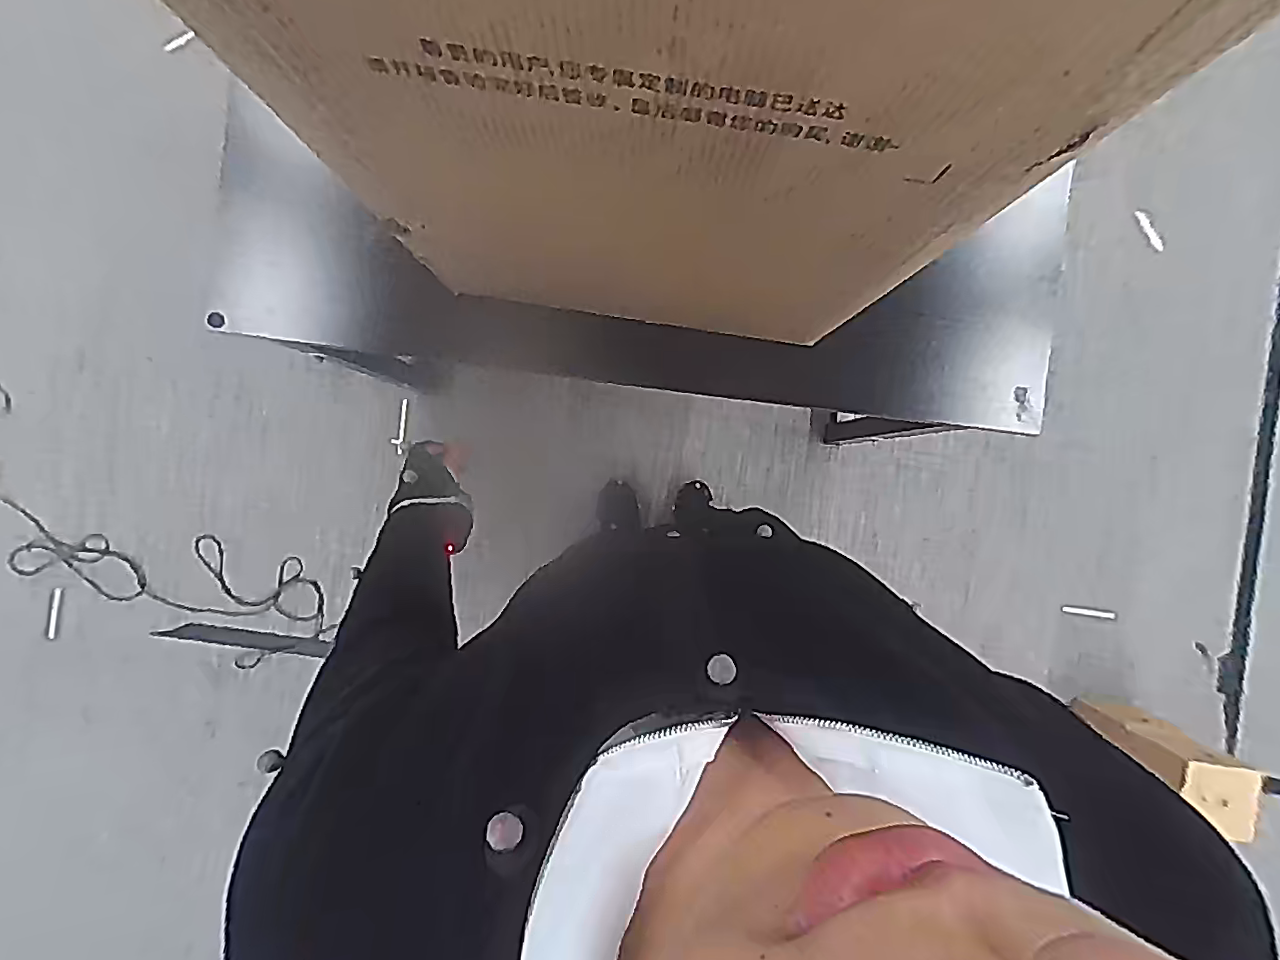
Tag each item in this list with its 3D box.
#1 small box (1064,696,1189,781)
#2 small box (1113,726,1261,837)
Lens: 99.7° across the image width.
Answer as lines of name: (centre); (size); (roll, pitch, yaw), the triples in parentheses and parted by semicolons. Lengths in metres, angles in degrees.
small box: (1.308, 0.704, 1.462); (0.179, 0.176, 0.168); (7, 90, 0)
small box: (1.301, 0.713, 1.297); (0.179, 0.176, 0.168); (8, 90, -1)
